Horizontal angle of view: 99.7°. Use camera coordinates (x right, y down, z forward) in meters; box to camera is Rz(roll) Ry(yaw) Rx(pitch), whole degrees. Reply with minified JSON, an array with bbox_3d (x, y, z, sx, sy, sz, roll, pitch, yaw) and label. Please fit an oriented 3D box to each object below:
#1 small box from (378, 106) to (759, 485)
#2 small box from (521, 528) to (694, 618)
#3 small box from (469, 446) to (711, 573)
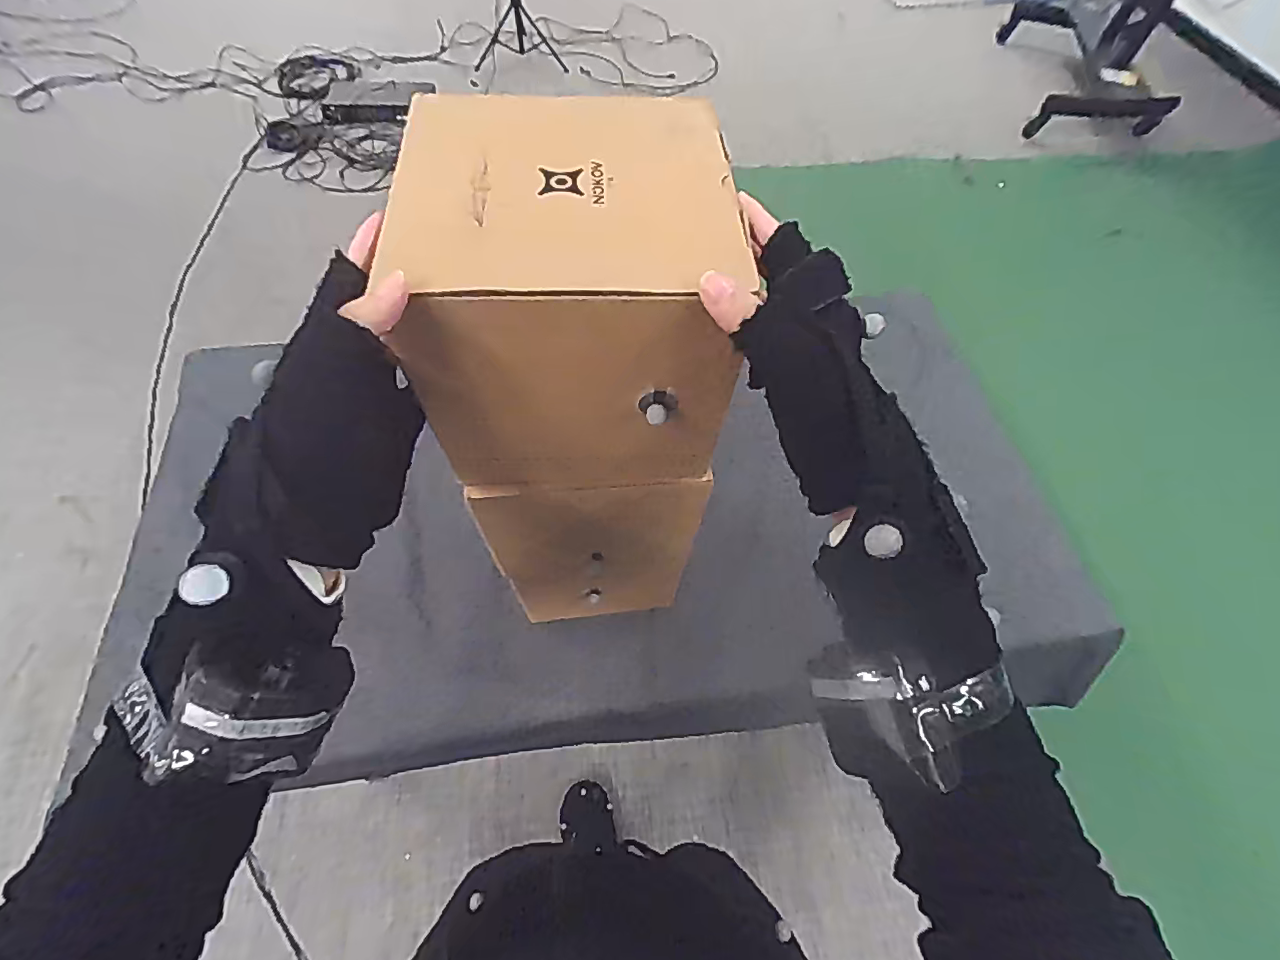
[{"bbox_3d":[-0.040,-0.108,0.353,0.179,0.176,0.168,-4,60,-4],"label":"small box"},{"bbox_3d":[-0.050,0.051,0.639,0.179,0.176,0.168,-8,62,-9],"label":"small box"},{"bbox_3d":[-0.047,-0.024,0.493,0.179,0.176,0.168,-4,61,-6],"label":"small box"}]
